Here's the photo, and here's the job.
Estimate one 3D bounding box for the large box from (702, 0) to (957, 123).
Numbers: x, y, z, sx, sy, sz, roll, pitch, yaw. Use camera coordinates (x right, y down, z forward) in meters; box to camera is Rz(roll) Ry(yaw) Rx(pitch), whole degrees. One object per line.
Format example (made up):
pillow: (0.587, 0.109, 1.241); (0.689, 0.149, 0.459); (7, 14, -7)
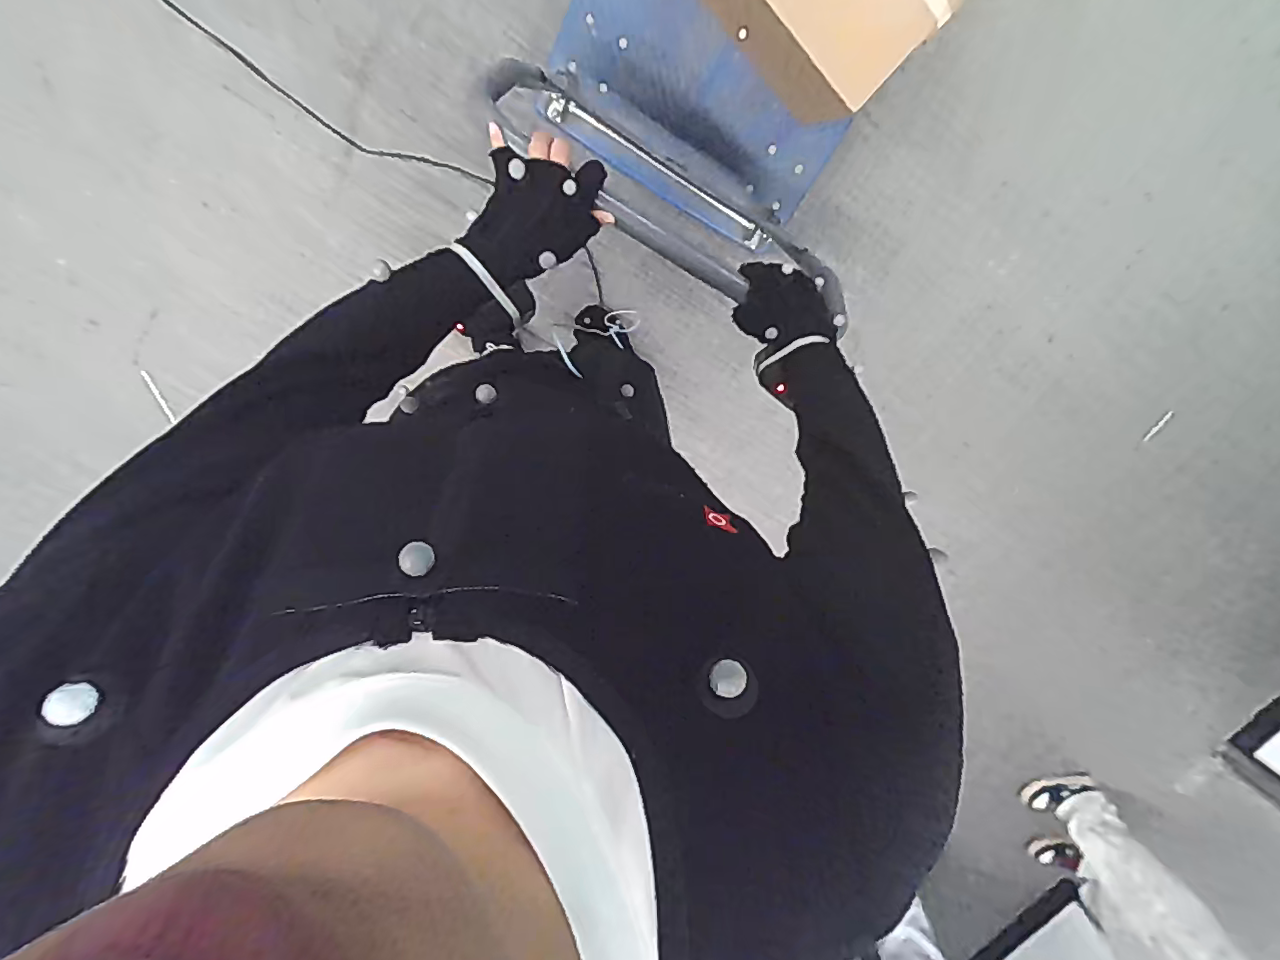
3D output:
large box: (0.284, -0.849, 0.845); (0.408, 0.320, 0.320); (38, 114, -20)
